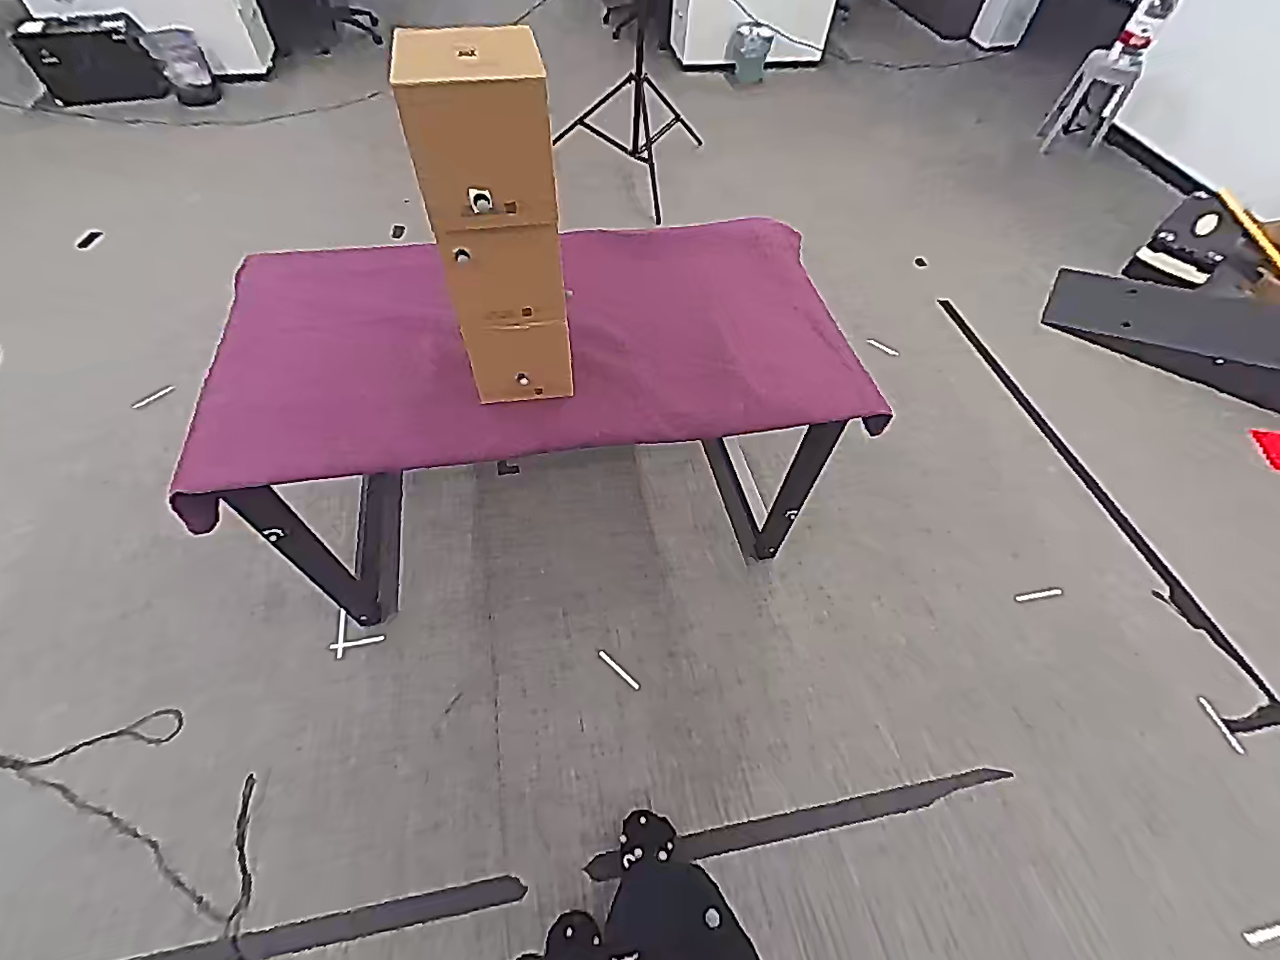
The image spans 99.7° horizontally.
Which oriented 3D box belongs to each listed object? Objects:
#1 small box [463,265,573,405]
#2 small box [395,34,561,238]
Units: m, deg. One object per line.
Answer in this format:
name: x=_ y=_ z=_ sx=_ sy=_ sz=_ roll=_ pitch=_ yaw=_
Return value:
small box: x=-0.212 y=-0.257 z=0.964 sx=0.168 sy=0.176 sz=0.179 roll=-7 pitch=55 yaw=-7
small box: x=-0.199 y=-0.437 z=0.691 sx=0.168 sy=0.176 sz=0.179 roll=-10 pitch=56 yaw=-9
